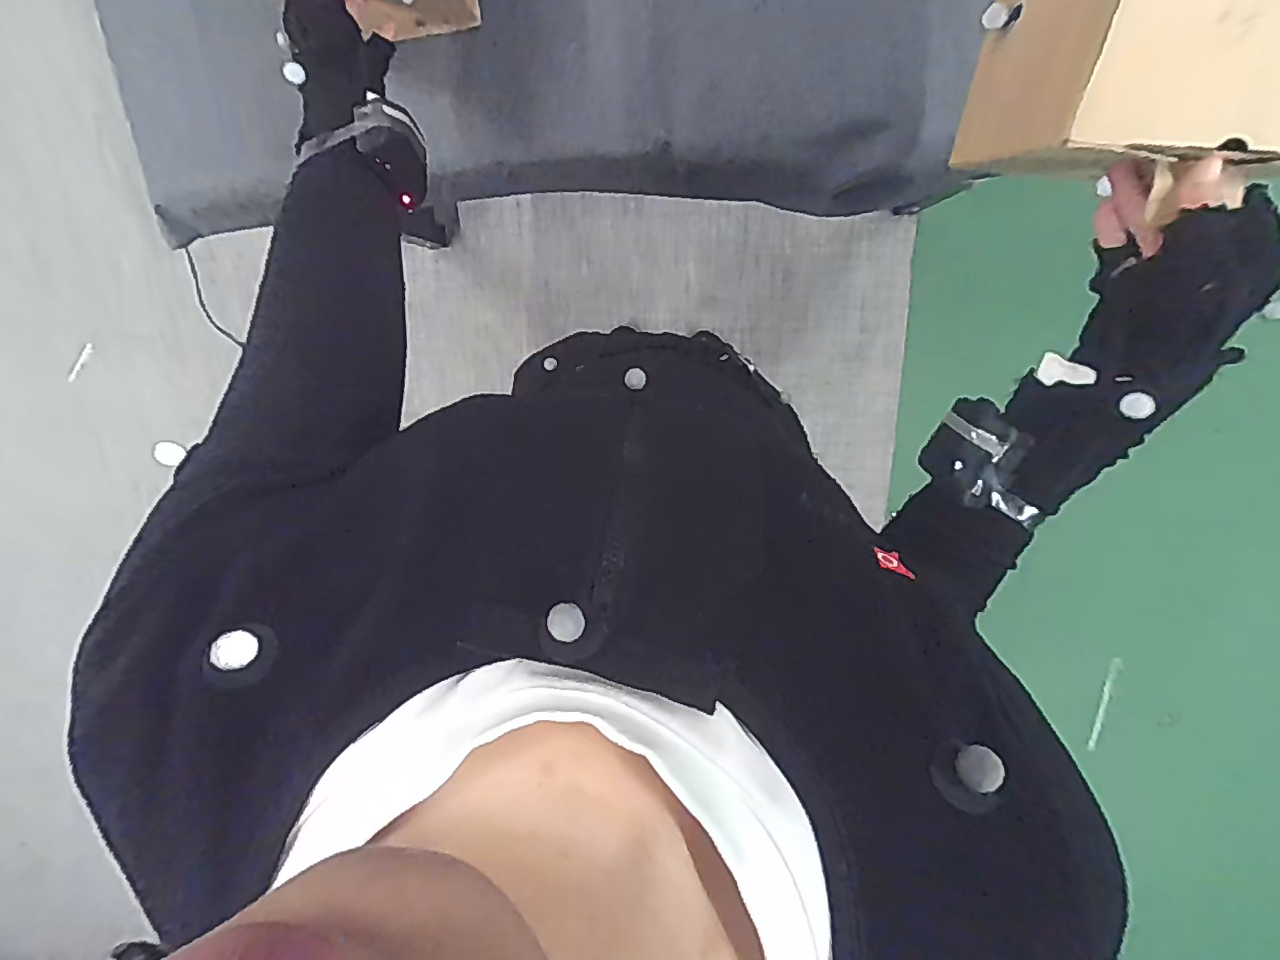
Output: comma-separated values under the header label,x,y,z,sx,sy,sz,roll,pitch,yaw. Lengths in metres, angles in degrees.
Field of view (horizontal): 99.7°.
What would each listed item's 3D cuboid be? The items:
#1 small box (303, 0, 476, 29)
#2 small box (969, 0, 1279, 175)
label,x,y,z,sx,sy,sz,roll,pitch,yaw
small box,-0.264,-0.553,0.491,0.168,0.176,0.179,-6,105,5
small box,0.326,-0.283,0.314,0.168,0.176,0.179,7,118,4
